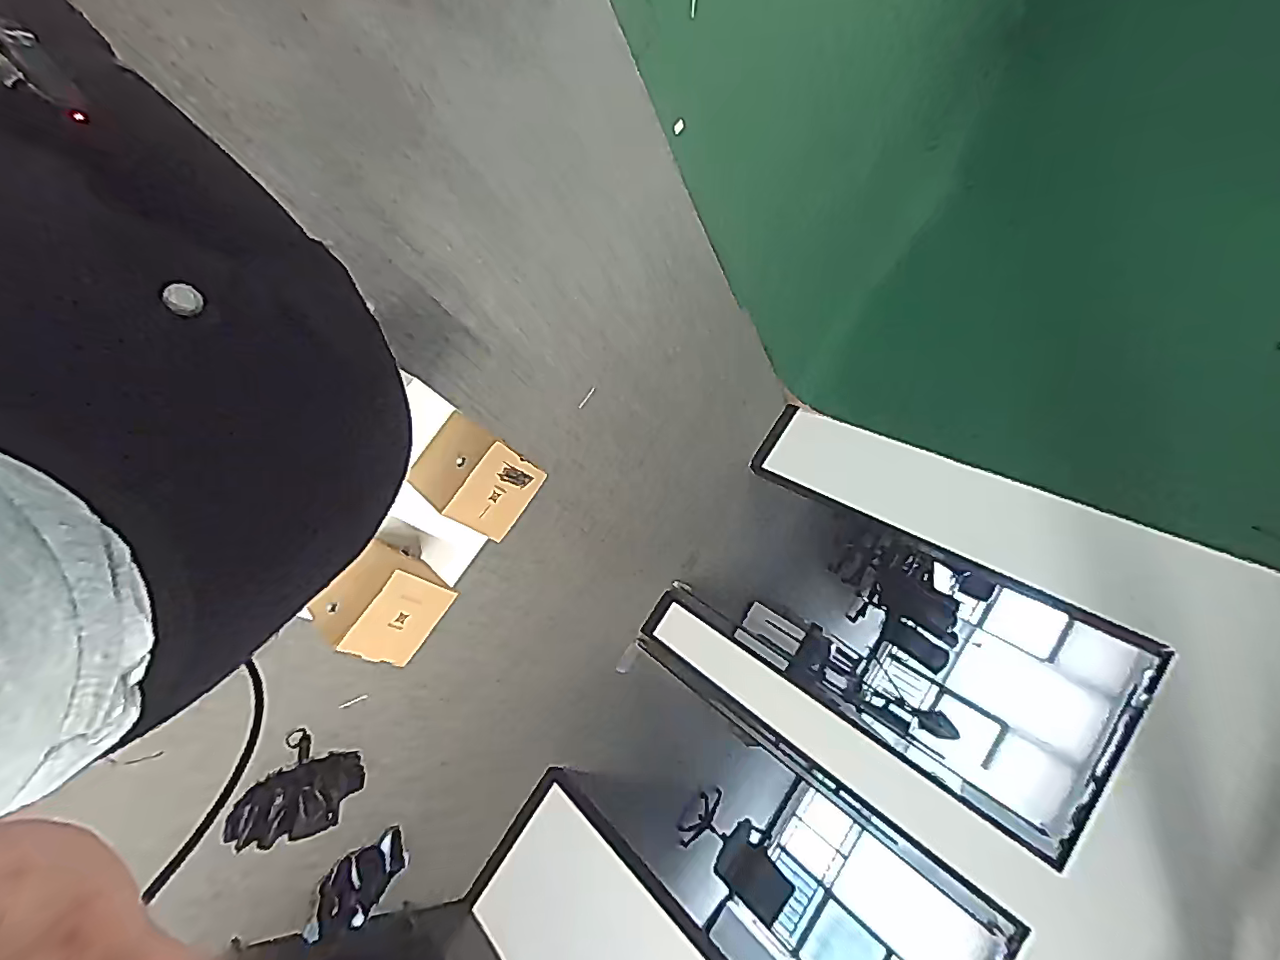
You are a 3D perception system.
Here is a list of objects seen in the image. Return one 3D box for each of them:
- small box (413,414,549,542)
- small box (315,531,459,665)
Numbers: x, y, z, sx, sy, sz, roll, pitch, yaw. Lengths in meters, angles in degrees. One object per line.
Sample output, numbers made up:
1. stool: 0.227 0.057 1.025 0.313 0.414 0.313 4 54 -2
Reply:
1. small box: -0.327 -0.008 1.106 0.179 0.176 0.168 -54 143 -5
2. small box: -0.503 0.230 1.065 0.179 0.176 0.168 -56 144 -9
